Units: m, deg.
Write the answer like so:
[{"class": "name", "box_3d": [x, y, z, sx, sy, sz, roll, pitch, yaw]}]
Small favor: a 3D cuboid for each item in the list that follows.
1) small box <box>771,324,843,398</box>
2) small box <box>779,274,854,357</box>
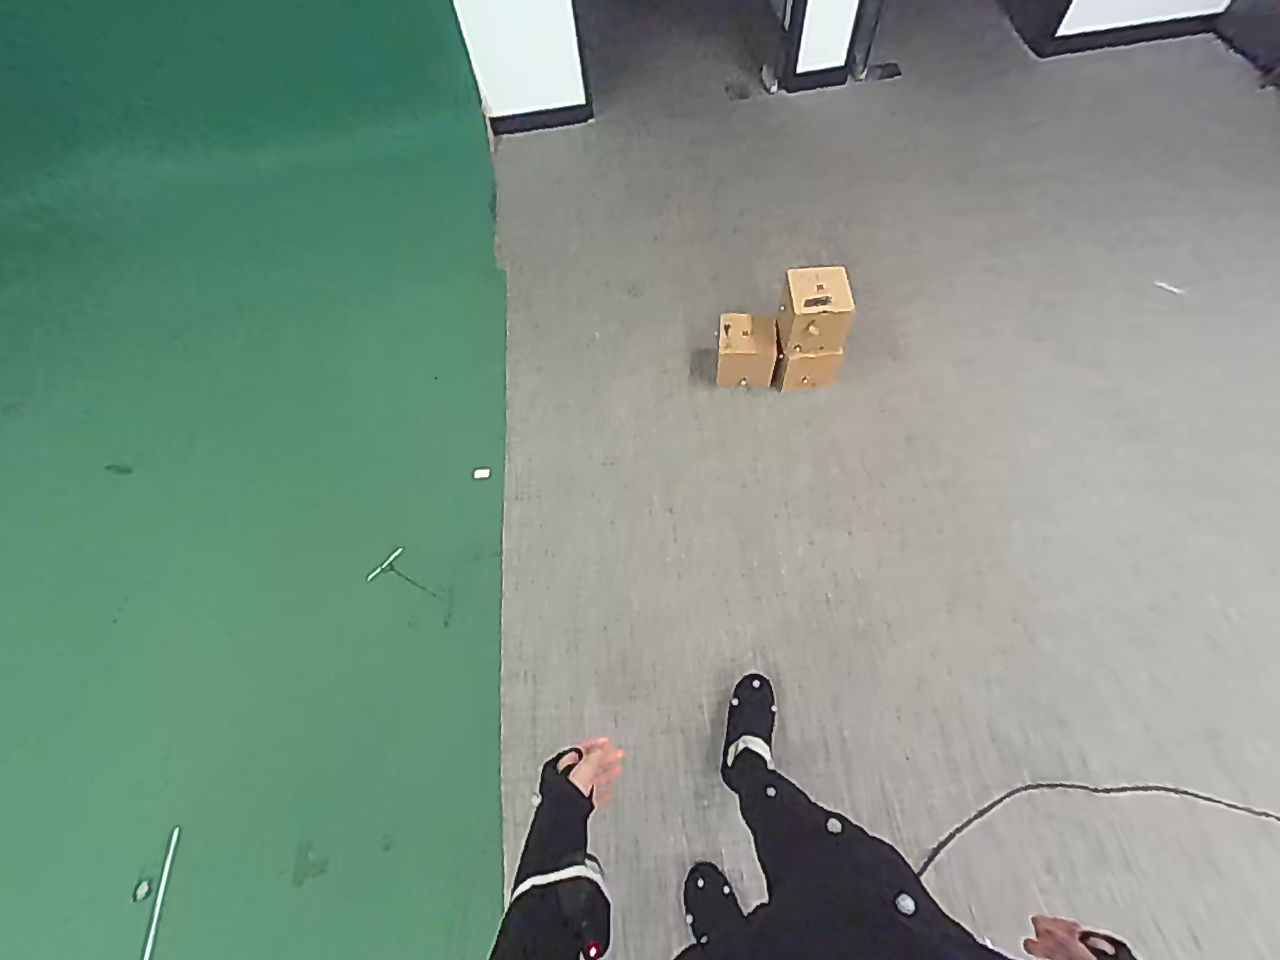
[{"class": "small box", "box_3d": [0.525, -0.387, 1.725, 0.168, 0.176, 0.179, -7, 62, 1]}, {"class": "small box", "box_3d": [0.510, -0.474, 1.585, 0.168, 0.176, 0.179, -2, 62, 3]}]
